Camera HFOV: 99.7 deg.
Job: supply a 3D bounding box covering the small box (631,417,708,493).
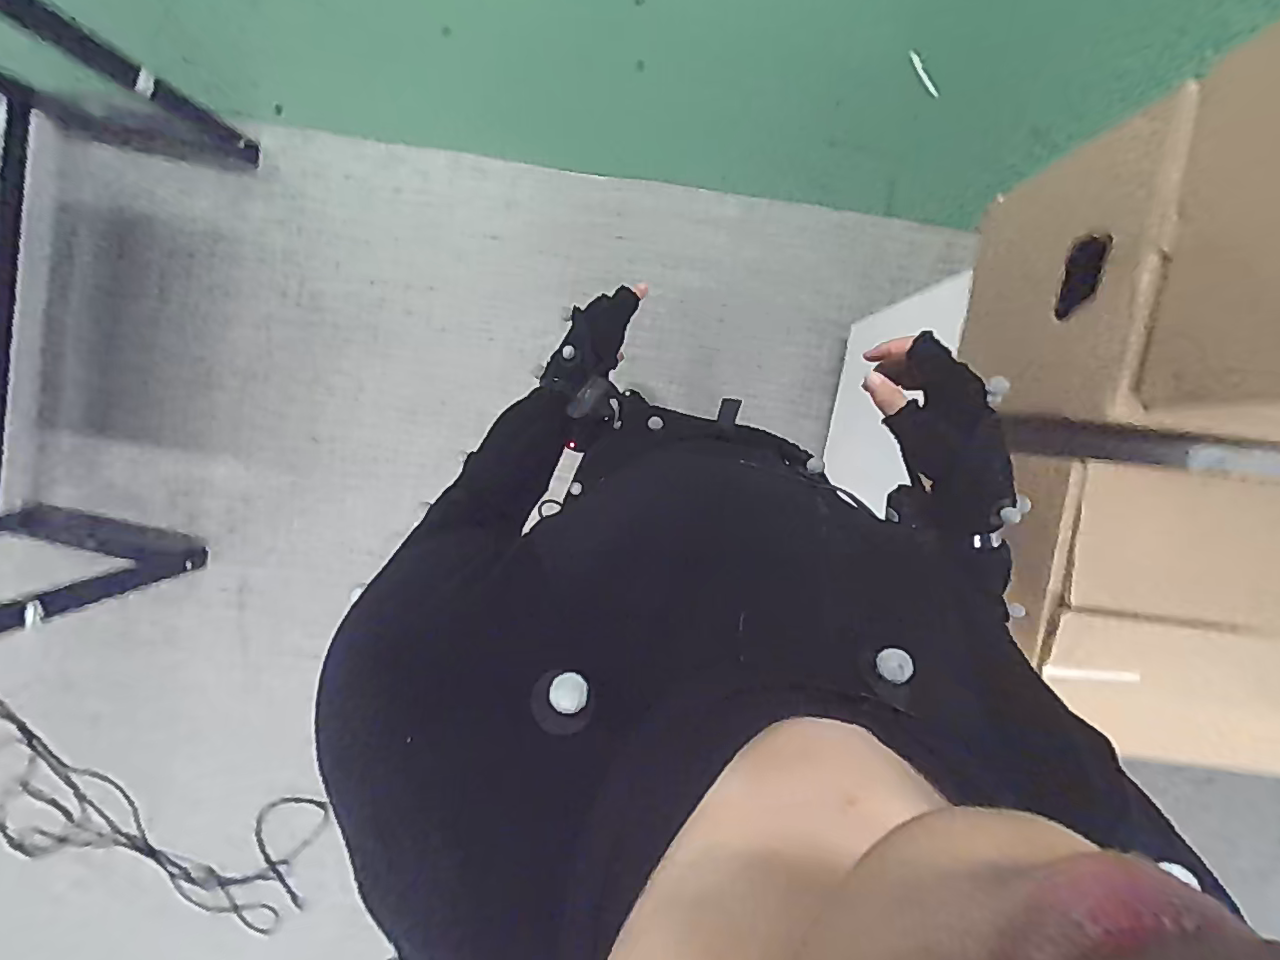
[{"bbox_3d":[0.073,-0.071,1.411,0.168,0.176,0.179,-5,99,-11],"label":"small box"}]
